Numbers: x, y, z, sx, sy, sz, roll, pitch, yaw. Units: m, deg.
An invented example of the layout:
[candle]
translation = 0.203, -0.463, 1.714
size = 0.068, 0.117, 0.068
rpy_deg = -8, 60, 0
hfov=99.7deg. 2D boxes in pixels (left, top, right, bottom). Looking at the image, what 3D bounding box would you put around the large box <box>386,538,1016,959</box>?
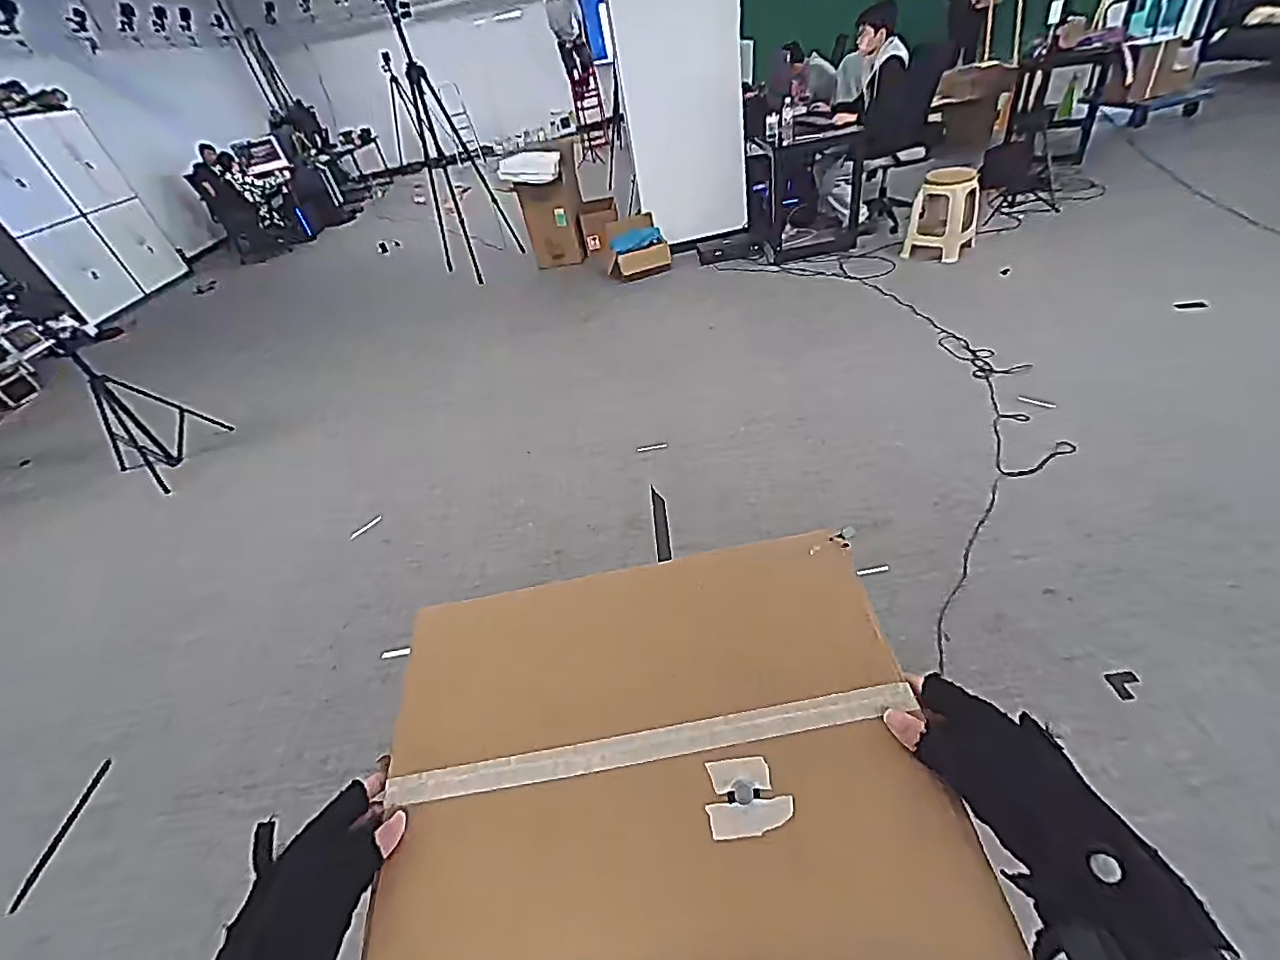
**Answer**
[large box]
translation = 0.033, 0.304, 0.531
size = 0.408, 0.320, 0.320
rpy_deg = -12, 49, 2
